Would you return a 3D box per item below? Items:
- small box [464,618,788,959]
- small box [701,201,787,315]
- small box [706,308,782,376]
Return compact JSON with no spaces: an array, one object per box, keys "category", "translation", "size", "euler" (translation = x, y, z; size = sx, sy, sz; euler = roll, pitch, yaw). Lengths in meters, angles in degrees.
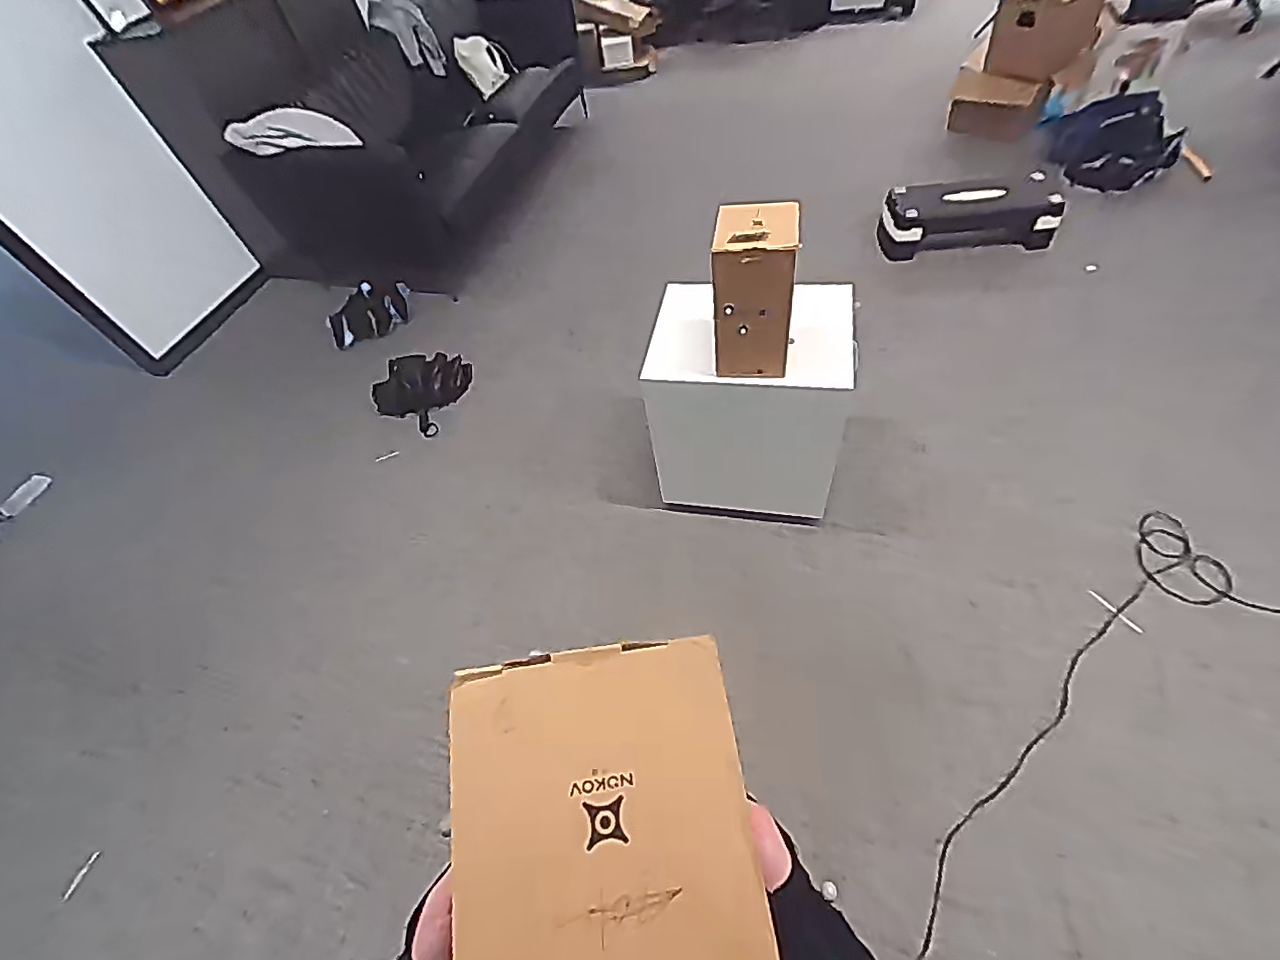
[{"category":"small box","translation":[-0.023,0.208,0.376],"size":[0.168,0.176,0.179],"euler":[-6,67,-9]},{"category":"small box","translation":[0.226,-0.470,1.161],"size":[0.168,0.176,0.179],"euler":[3,53,12]},{"category":"small box","translation":[0.248,-0.371,1.290],"size":[0.168,0.176,0.179],"euler":[2,52,12]}]
